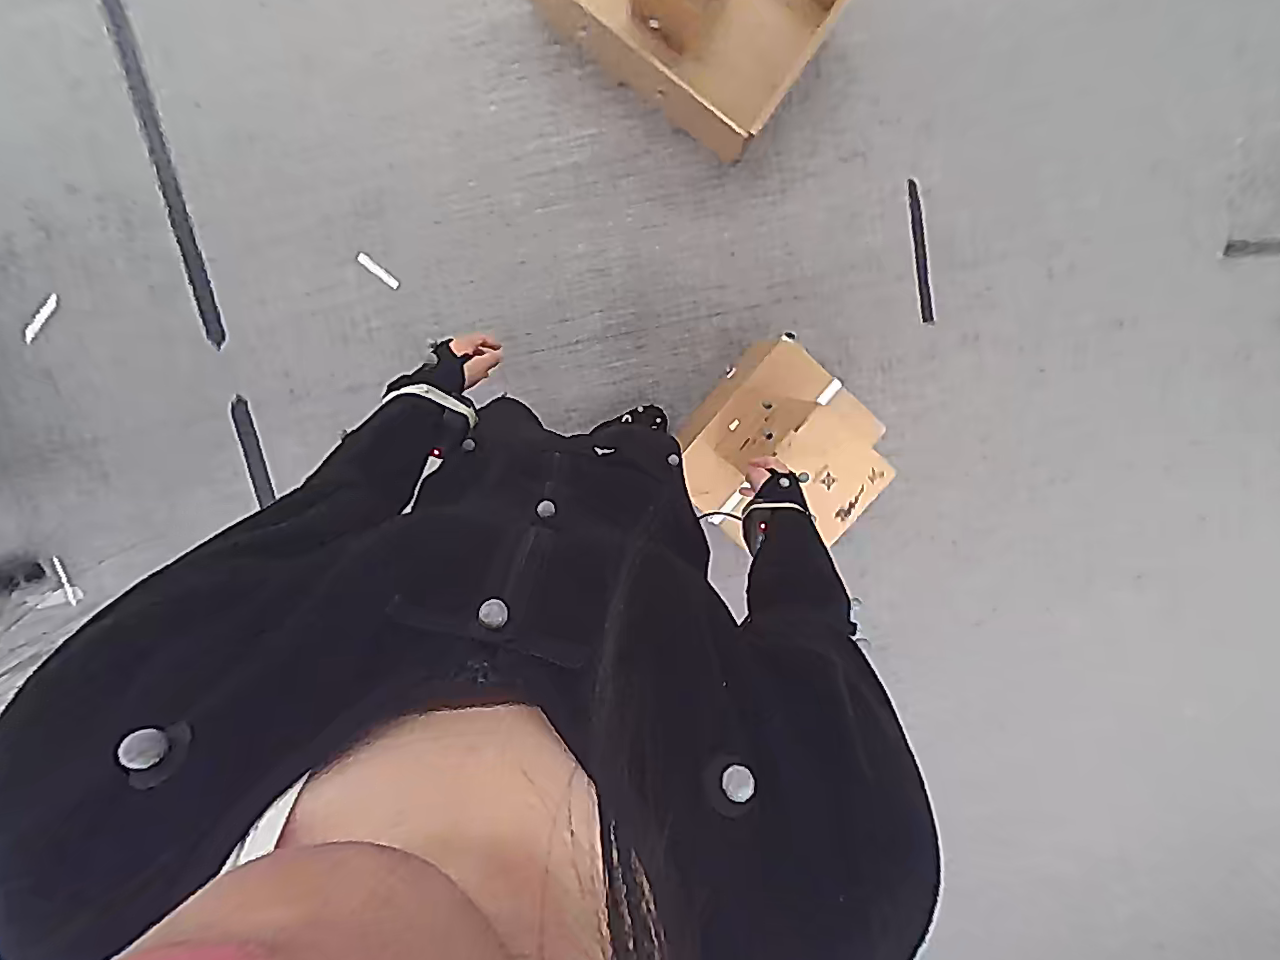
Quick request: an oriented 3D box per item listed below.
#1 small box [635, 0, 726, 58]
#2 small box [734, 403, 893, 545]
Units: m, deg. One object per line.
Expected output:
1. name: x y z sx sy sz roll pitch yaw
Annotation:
1. small box: 0.098 -1.092 1.180 0.168 0.176 0.179 35 98 -8
2. small box: 0.289 -0.019 0.945 0.179 0.176 0.168 40 97 -8
